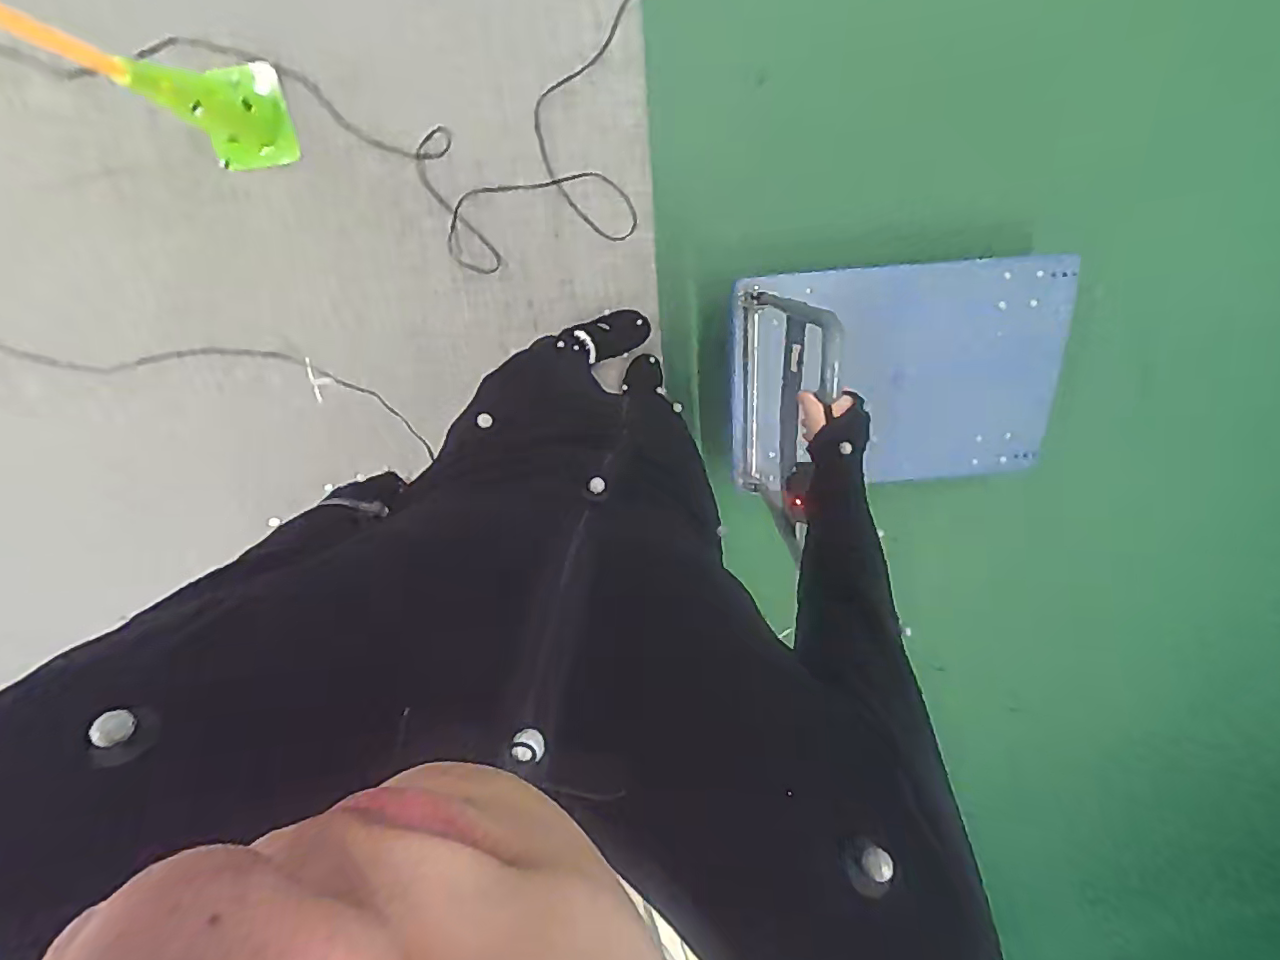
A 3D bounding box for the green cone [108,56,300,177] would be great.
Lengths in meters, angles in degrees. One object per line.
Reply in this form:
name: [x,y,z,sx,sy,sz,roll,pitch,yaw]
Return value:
green cone: [-0.929,-0.788,1.131,0.200,0.368,0.202,-9,110,1]
